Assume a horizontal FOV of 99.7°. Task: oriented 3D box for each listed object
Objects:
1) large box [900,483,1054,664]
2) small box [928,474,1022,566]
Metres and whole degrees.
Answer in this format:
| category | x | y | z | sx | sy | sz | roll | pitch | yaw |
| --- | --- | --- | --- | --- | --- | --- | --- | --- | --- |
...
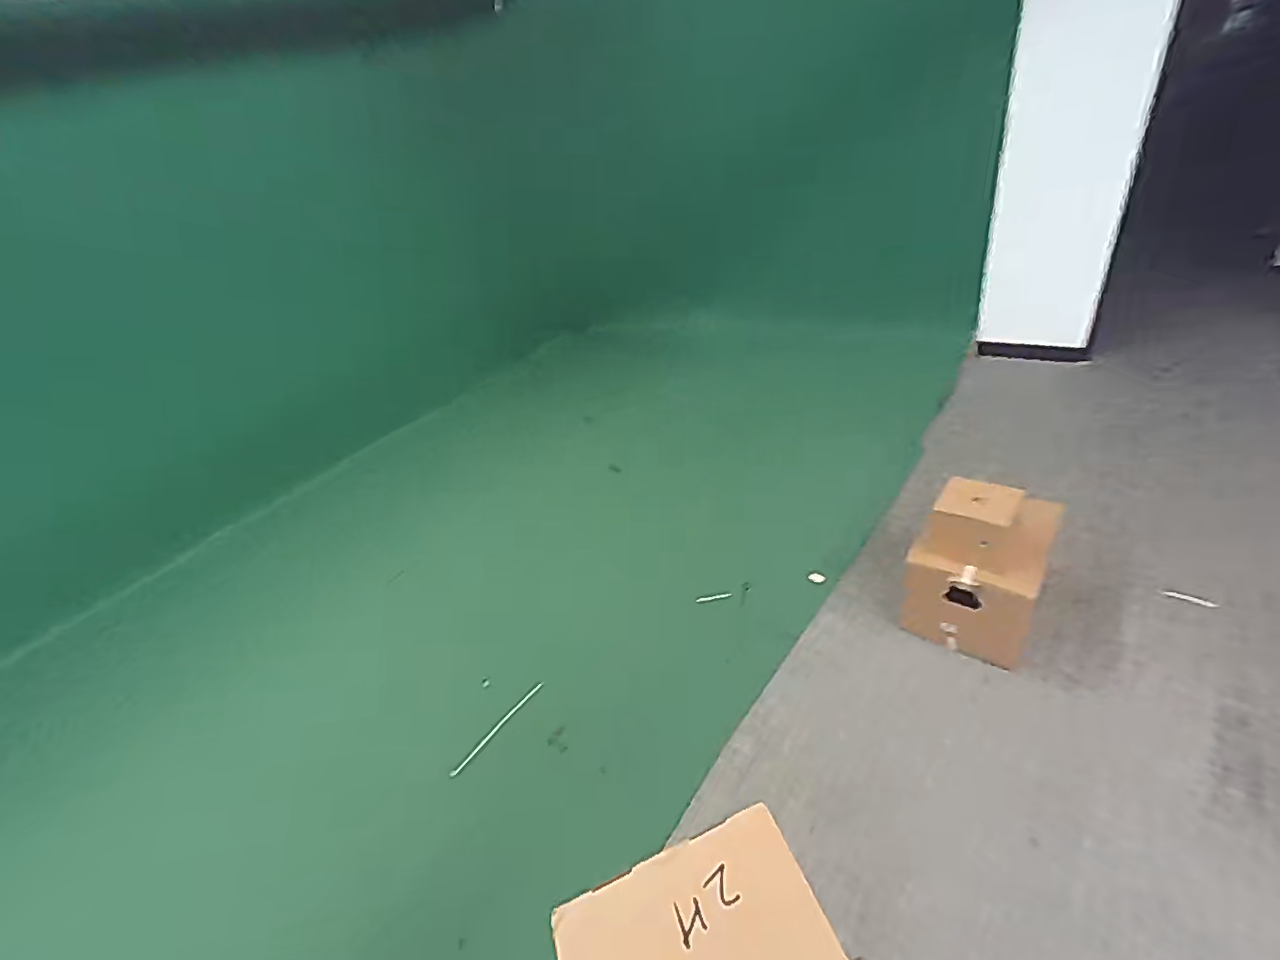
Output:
| category | x | y | z | sx | sy | sz | roll | pitch | yaw |
| --- | --- | --- | --- | --- | --- | --- | --- | --- | --- |
| large box | 1.017 | 0.269 | 1.649 | 0.320 | 0.320 | 0.408 | 17 | 45 | 37 |
| small box | 0.911 | 0.111 | 1.480 | 0.179 | 0.176 | 0.168 | 17 | 46 | 41 |
